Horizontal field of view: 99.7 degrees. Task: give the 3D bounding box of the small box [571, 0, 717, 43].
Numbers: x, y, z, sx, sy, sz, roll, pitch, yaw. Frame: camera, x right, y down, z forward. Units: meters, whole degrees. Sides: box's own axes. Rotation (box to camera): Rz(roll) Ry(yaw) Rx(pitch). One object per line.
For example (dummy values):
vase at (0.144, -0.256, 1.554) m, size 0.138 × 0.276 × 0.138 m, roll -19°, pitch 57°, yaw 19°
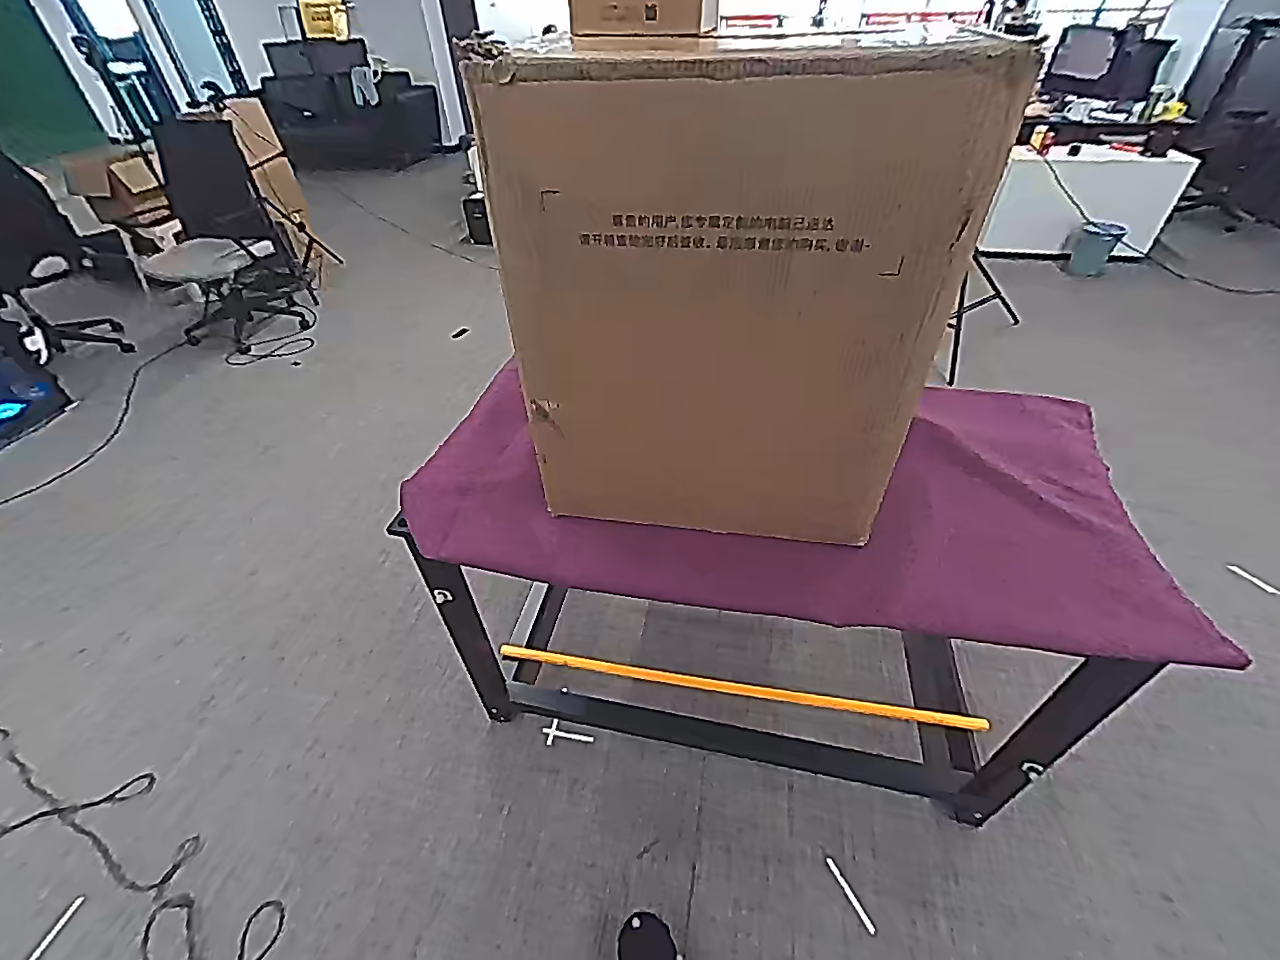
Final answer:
small box at (0.010, -0.653, 0.670) m, size 0.168 × 0.176 × 0.179 m, roll 8°, pitch 42°, yaw 10°
